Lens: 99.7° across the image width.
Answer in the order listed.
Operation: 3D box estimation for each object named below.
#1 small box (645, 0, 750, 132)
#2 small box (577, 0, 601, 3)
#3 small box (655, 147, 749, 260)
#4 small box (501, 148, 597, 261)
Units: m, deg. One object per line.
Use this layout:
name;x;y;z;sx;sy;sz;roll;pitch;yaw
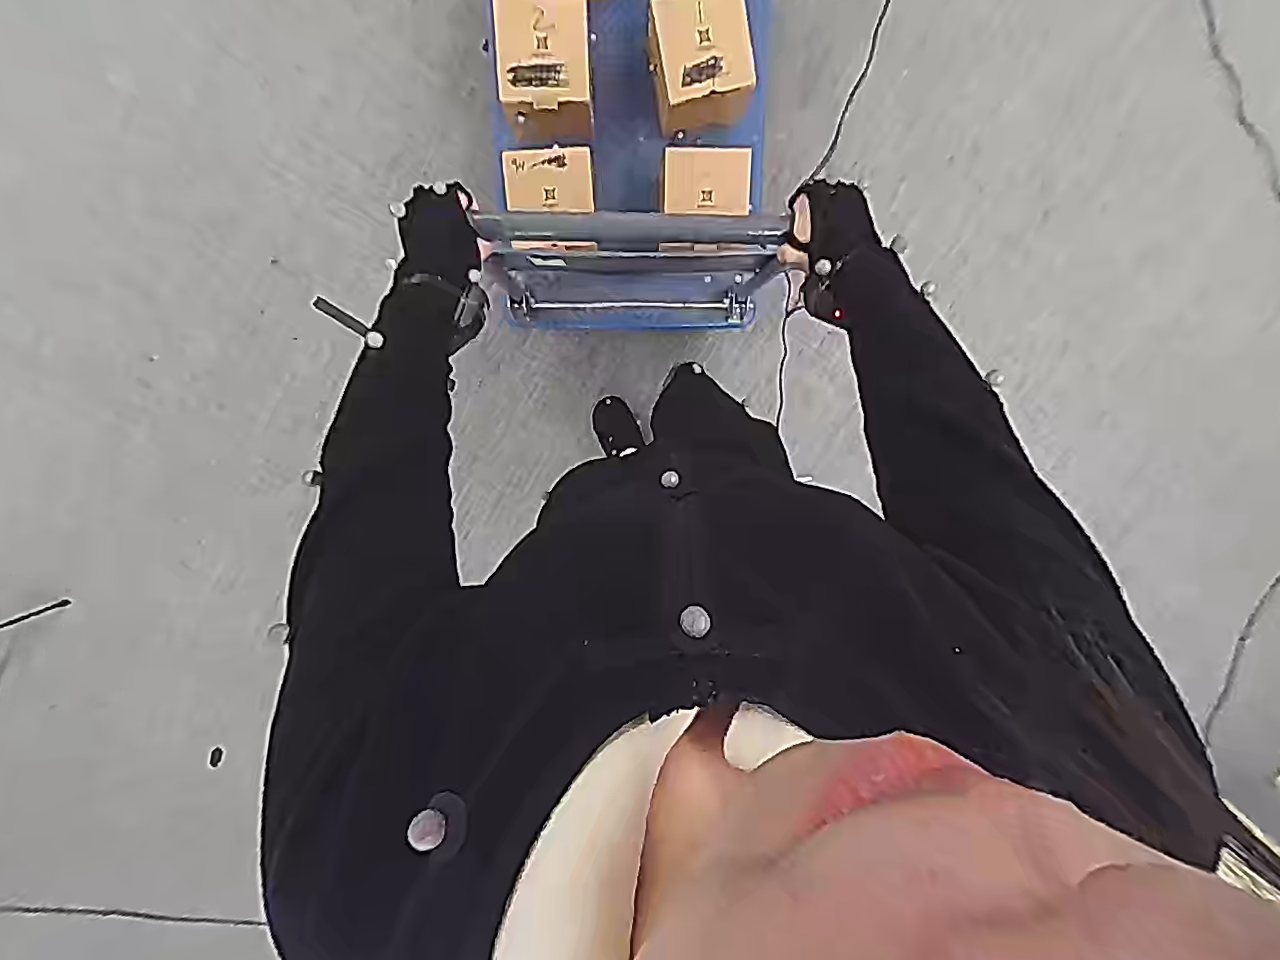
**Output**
small box;0.107;-0.809;1.055;0.168;0.176;0.179;-12;102;0
small box;-0.142;-1.035;0.992;0.168;0.176;0.179;1;104;-3
small box;0.120;-0.558;1.113;0.168;0.176;0.179;0;102;-3
small box;-0.177;-0.550;1.102;0.168;0.176;0.179;-4;103;-2
